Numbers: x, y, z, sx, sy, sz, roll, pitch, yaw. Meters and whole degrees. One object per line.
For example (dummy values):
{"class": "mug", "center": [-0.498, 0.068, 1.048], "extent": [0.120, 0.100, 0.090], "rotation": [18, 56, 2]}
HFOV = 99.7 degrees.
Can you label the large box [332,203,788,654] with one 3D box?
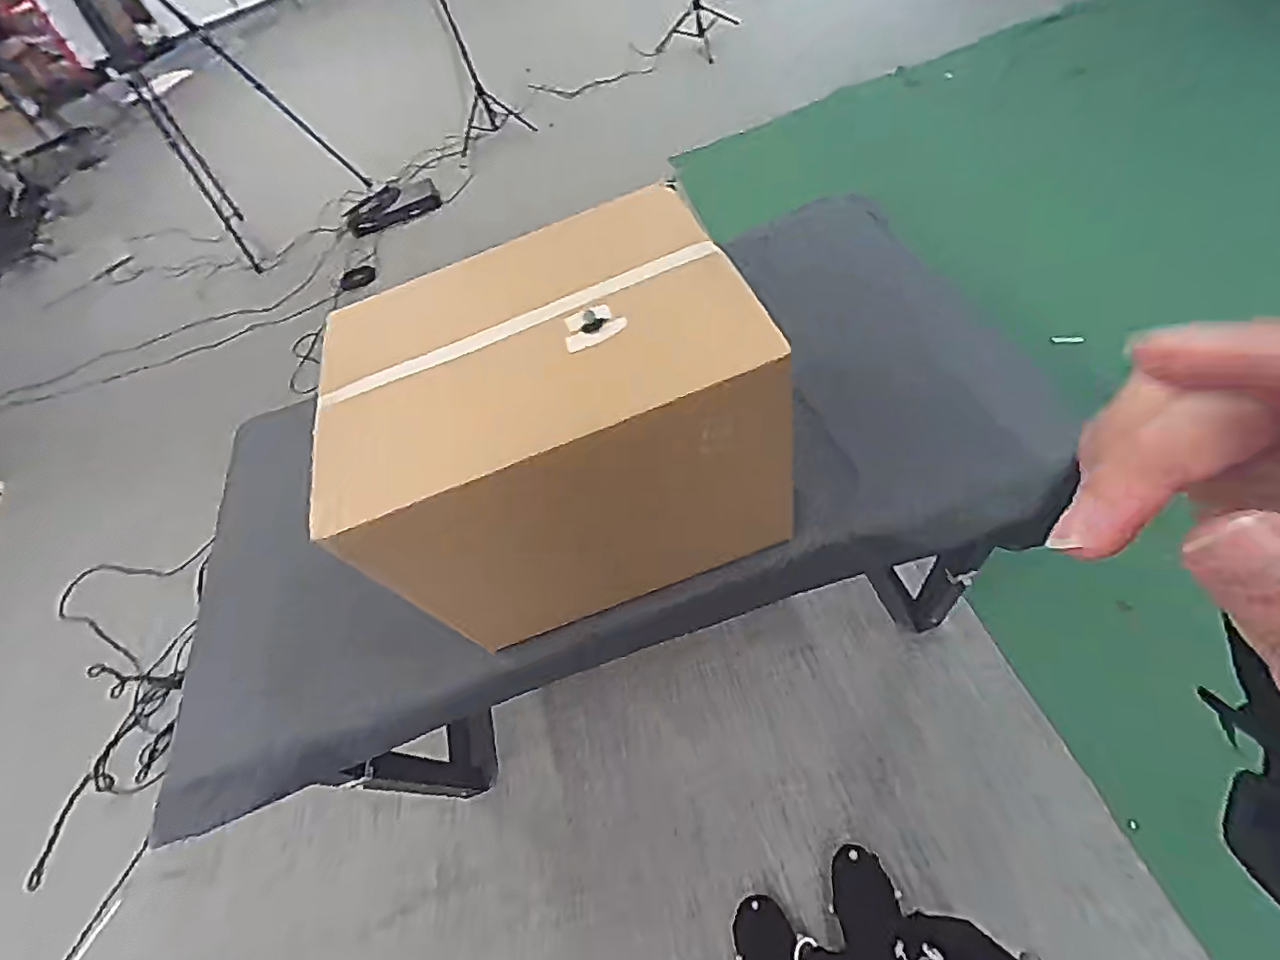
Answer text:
{"class": "large box", "center": [-0.076, -0.049, 0.642], "extent": [0.408, 0.320, 0.320], "rotation": [-21, 53, 0]}
